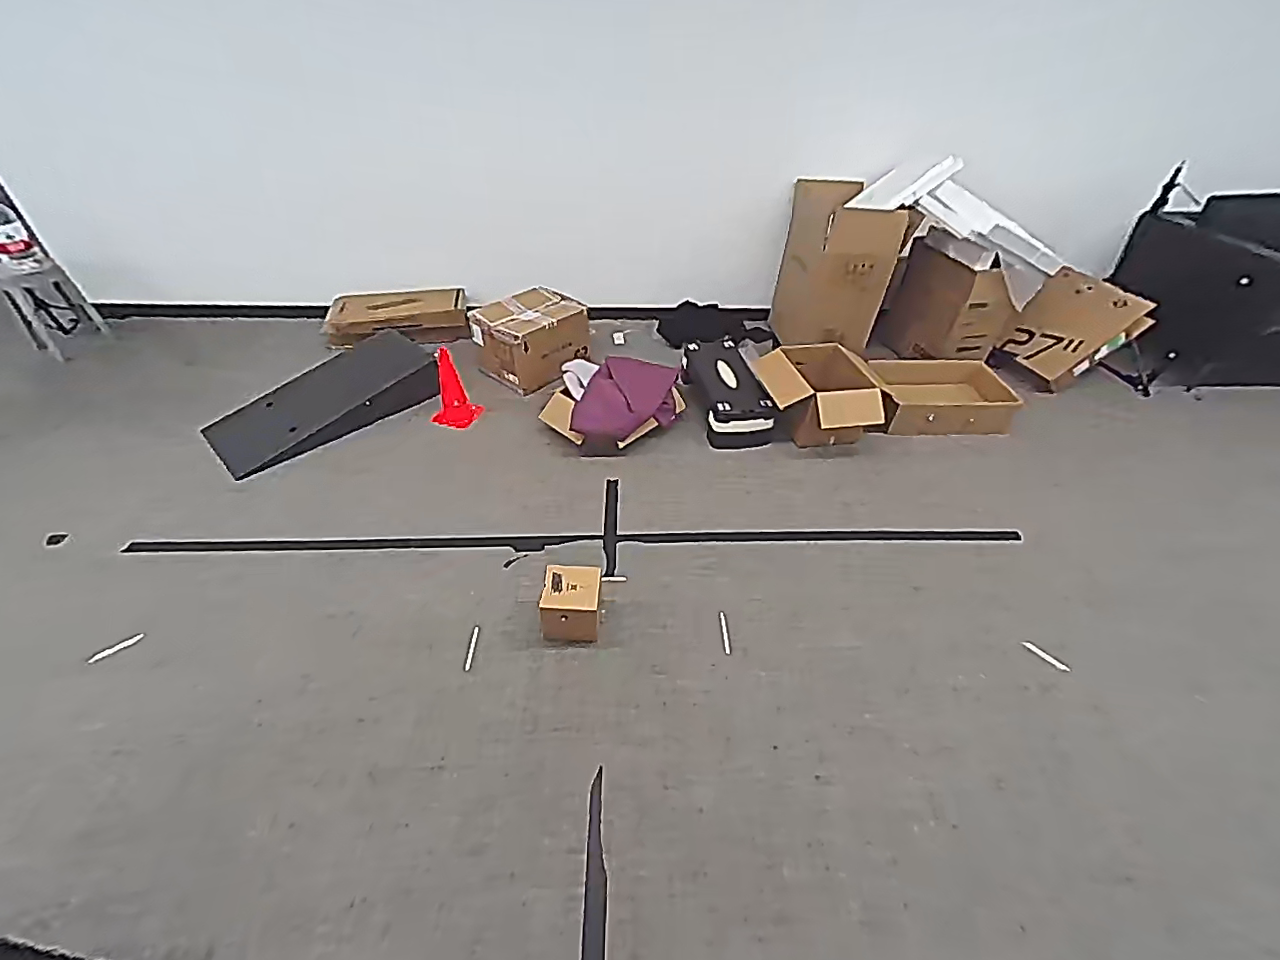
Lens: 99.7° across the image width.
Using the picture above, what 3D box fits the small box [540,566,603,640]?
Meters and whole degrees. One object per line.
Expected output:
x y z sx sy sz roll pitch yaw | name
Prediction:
-0.212 0.392 1.720 0.179 0.176 0.168 3 42 0 | small box
